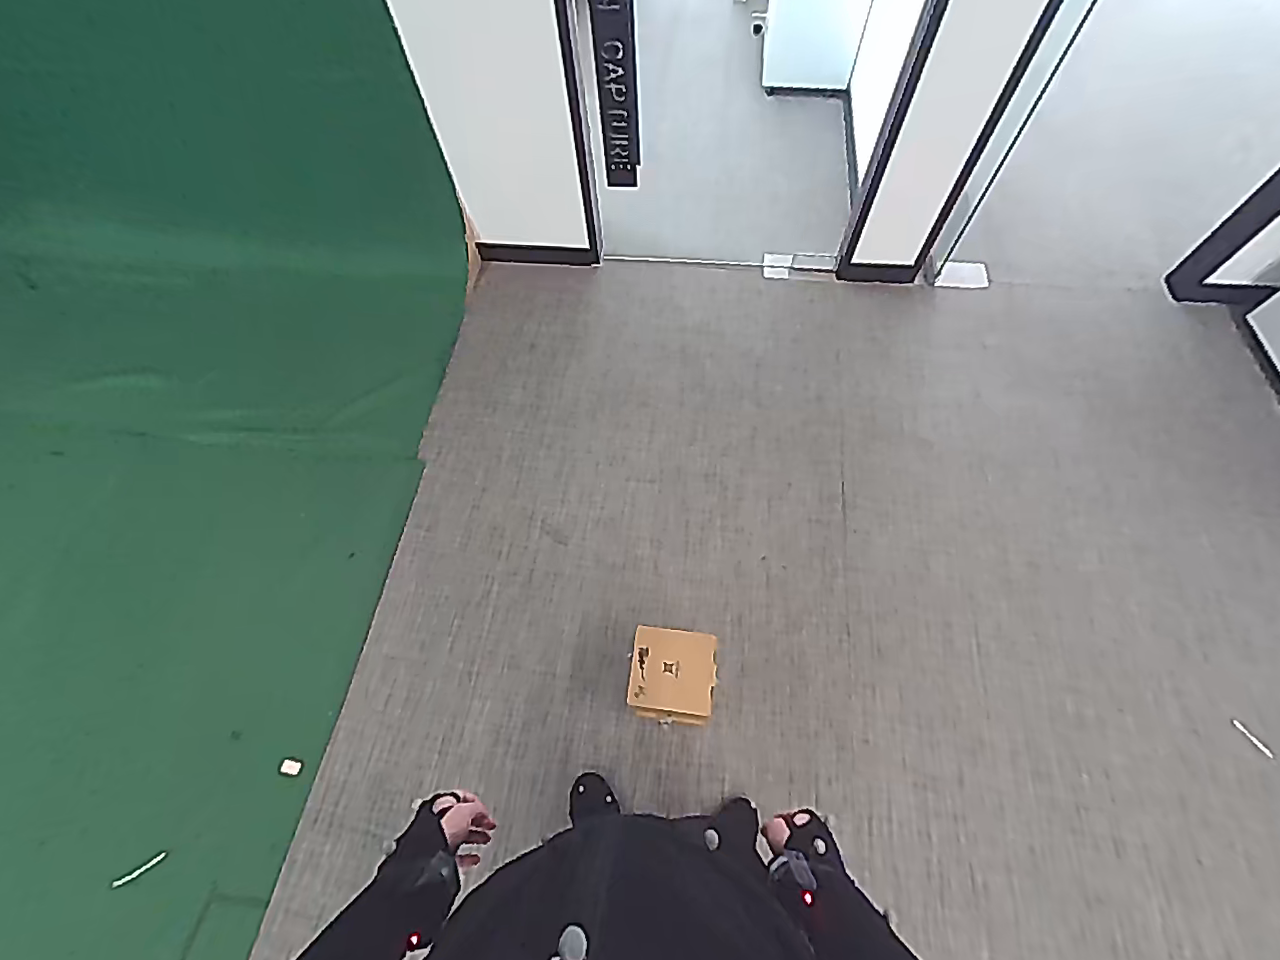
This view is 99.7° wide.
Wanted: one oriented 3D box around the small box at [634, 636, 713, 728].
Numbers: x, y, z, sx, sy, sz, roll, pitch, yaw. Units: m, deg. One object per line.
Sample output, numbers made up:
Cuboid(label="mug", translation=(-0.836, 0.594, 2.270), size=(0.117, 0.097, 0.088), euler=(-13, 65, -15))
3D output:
Cuboid(label="small box", translation=(0.085, 0.505, 1.341), size=(0.168, 0.176, 0.179), euler=(7, 64, 8))
